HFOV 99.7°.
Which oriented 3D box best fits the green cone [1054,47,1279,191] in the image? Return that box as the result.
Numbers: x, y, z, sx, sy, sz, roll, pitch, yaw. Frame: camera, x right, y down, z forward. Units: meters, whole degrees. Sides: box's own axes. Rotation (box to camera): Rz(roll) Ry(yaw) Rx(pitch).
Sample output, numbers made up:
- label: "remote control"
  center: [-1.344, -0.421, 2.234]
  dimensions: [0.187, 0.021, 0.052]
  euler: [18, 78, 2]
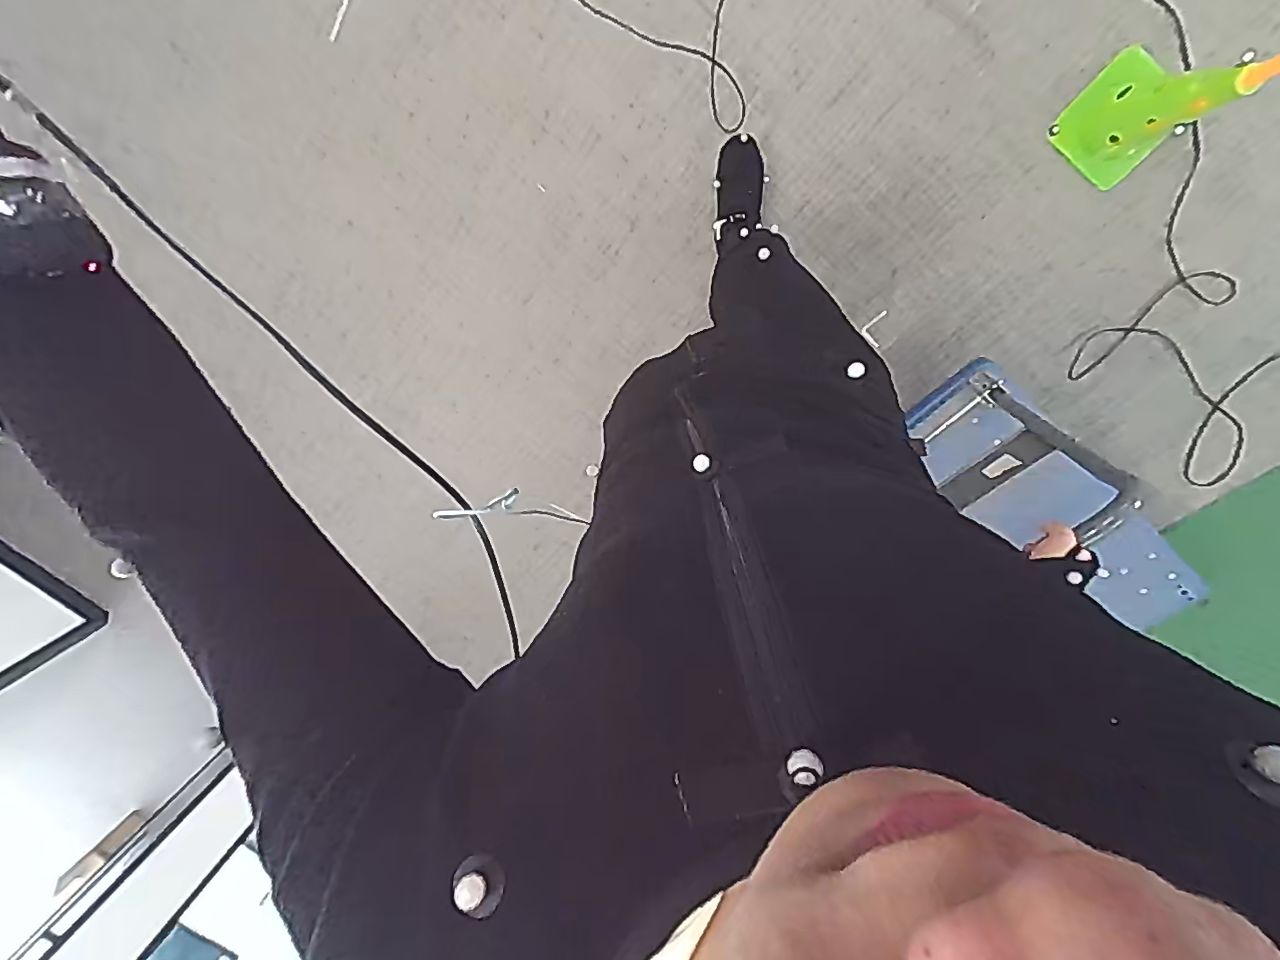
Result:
- label: "green cone"
  center: [0.984, -0.682, 0.978]
  dimensions: [0.200, 0.368, 0.202]
  euler: [37, 115, -6]
